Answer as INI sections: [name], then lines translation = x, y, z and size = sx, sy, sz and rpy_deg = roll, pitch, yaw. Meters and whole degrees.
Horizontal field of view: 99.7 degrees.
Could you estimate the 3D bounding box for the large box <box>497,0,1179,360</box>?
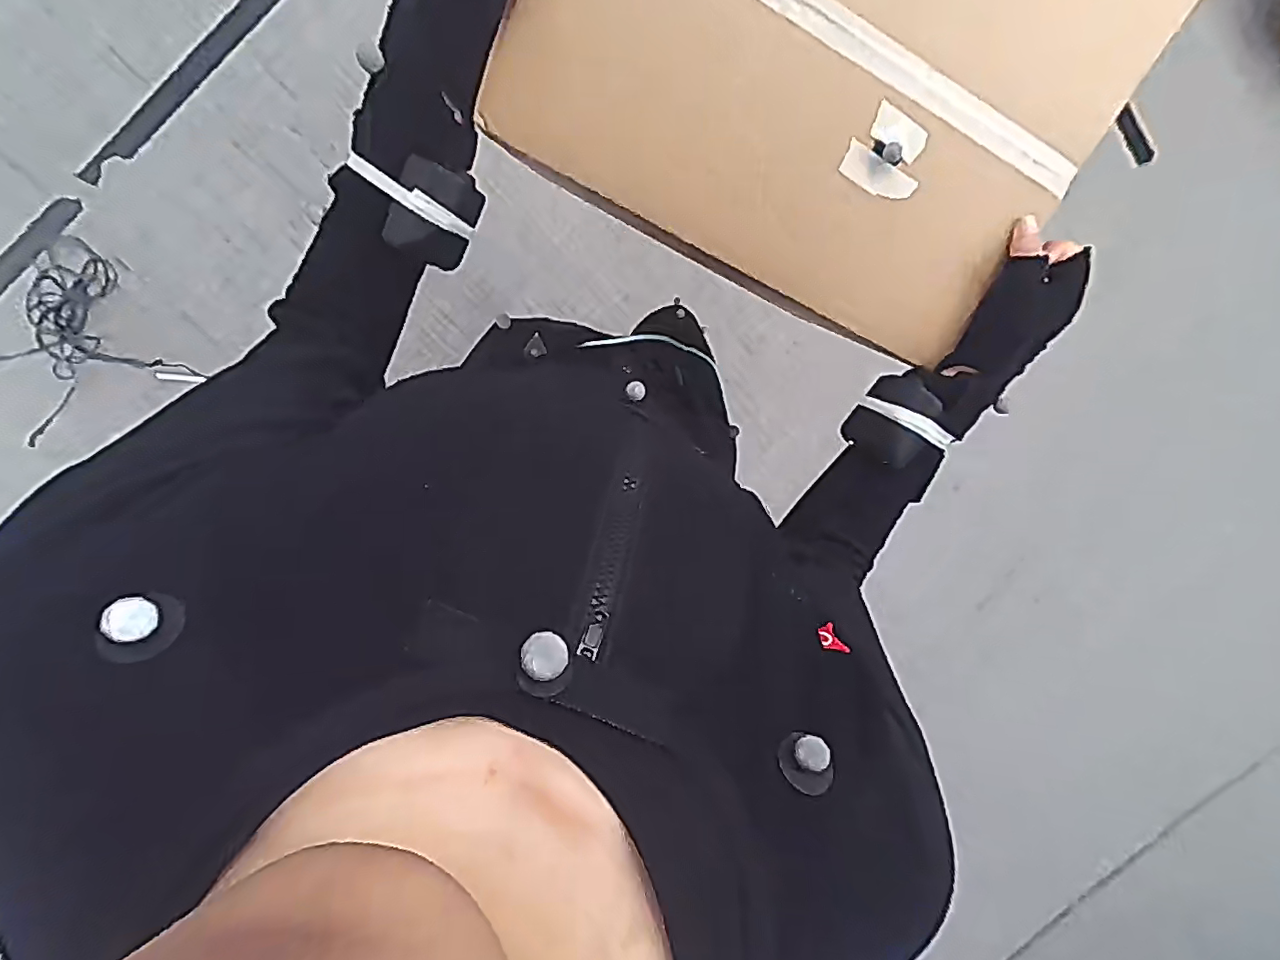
[large box]
translation = 0.128, -0.361, 0.505
size = 0.408, 0.320, 0.320
rpy_deg = 23, 112, -14
